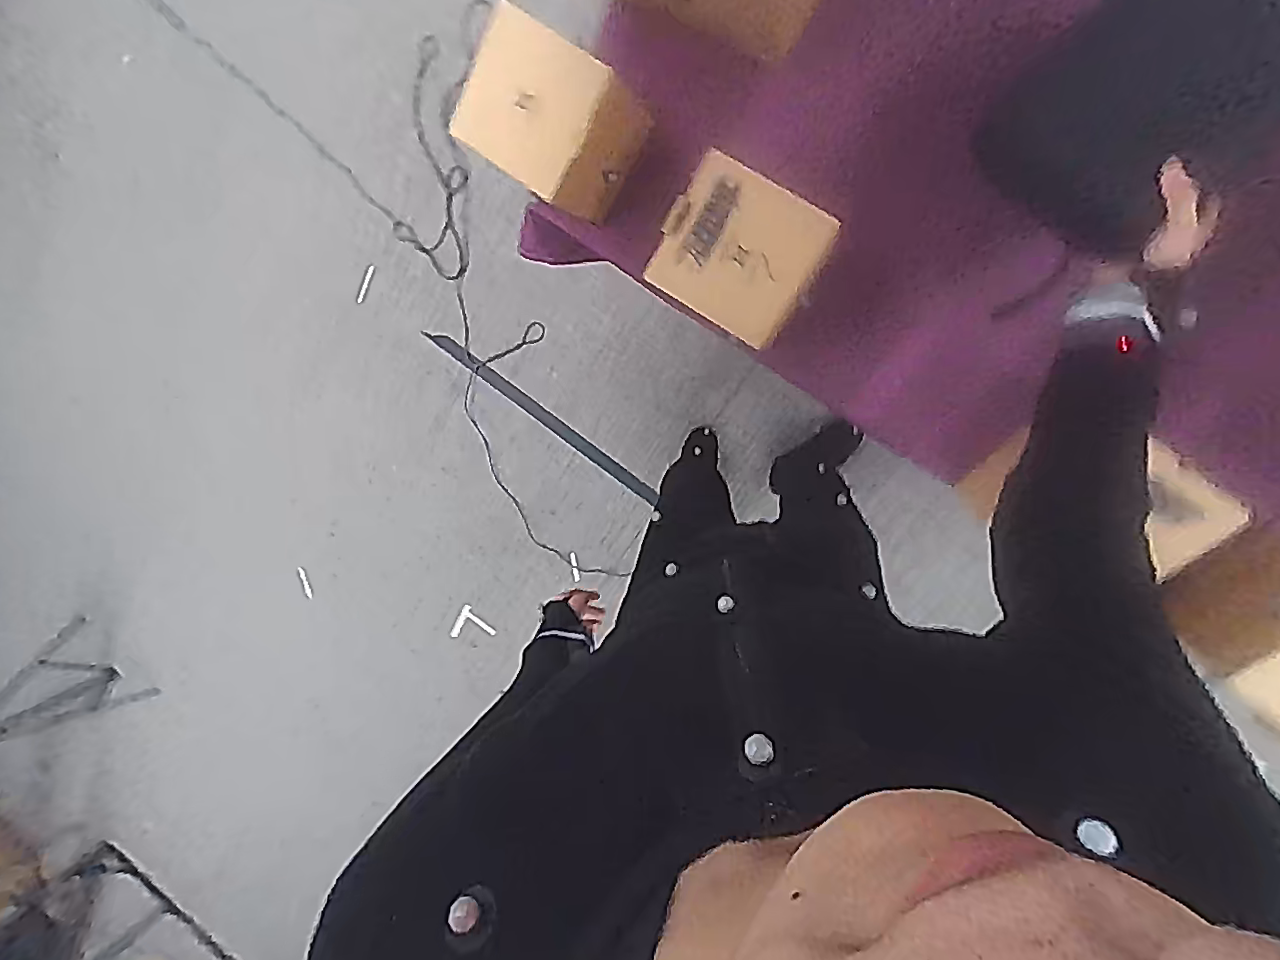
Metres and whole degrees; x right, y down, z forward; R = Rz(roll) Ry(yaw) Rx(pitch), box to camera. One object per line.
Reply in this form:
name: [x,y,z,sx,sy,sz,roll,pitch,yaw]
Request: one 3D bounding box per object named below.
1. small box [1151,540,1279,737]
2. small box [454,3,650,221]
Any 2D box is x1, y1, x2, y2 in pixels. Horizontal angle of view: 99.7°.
small box: [0.770,0.197,0.624,0.168,0.176,0.179,43,112,5]
small box: [-0.114,-0.489,0.752,0.179,0.176,0.168,36,112,6]
